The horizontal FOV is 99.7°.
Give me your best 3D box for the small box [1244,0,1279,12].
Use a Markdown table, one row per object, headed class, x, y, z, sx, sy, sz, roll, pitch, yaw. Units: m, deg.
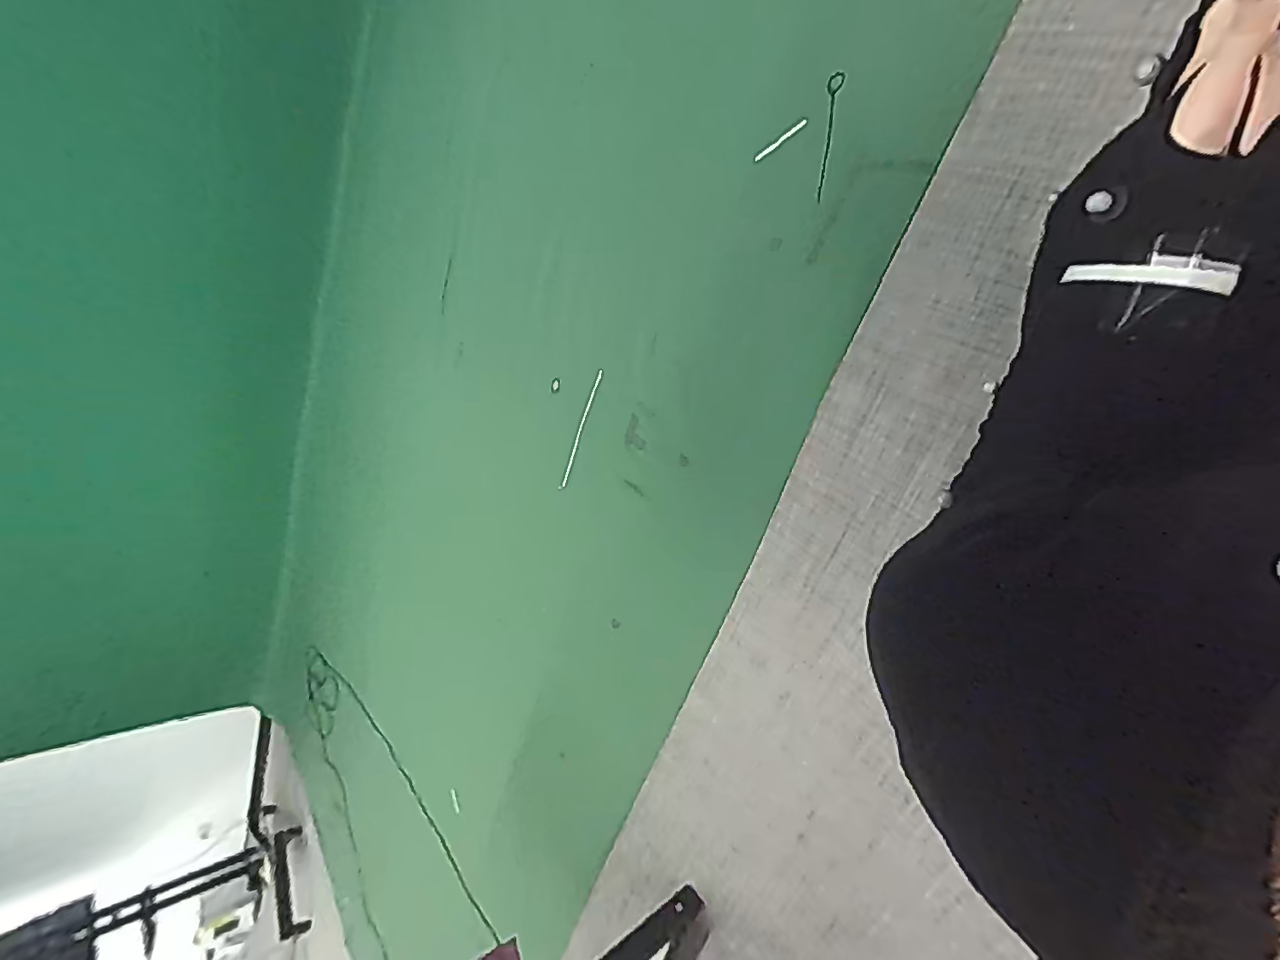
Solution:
| class | x | y | z | sx | sy | sz | roll | pitch | yaw |
| --- | --- | --- | --- | --- | --- | --- | --- | --- | --- |
| small box | 0.365 | -0.323 | 0.205 | 0.168 | 0.176 | 0.179 | 4 | 114 | 53 |
